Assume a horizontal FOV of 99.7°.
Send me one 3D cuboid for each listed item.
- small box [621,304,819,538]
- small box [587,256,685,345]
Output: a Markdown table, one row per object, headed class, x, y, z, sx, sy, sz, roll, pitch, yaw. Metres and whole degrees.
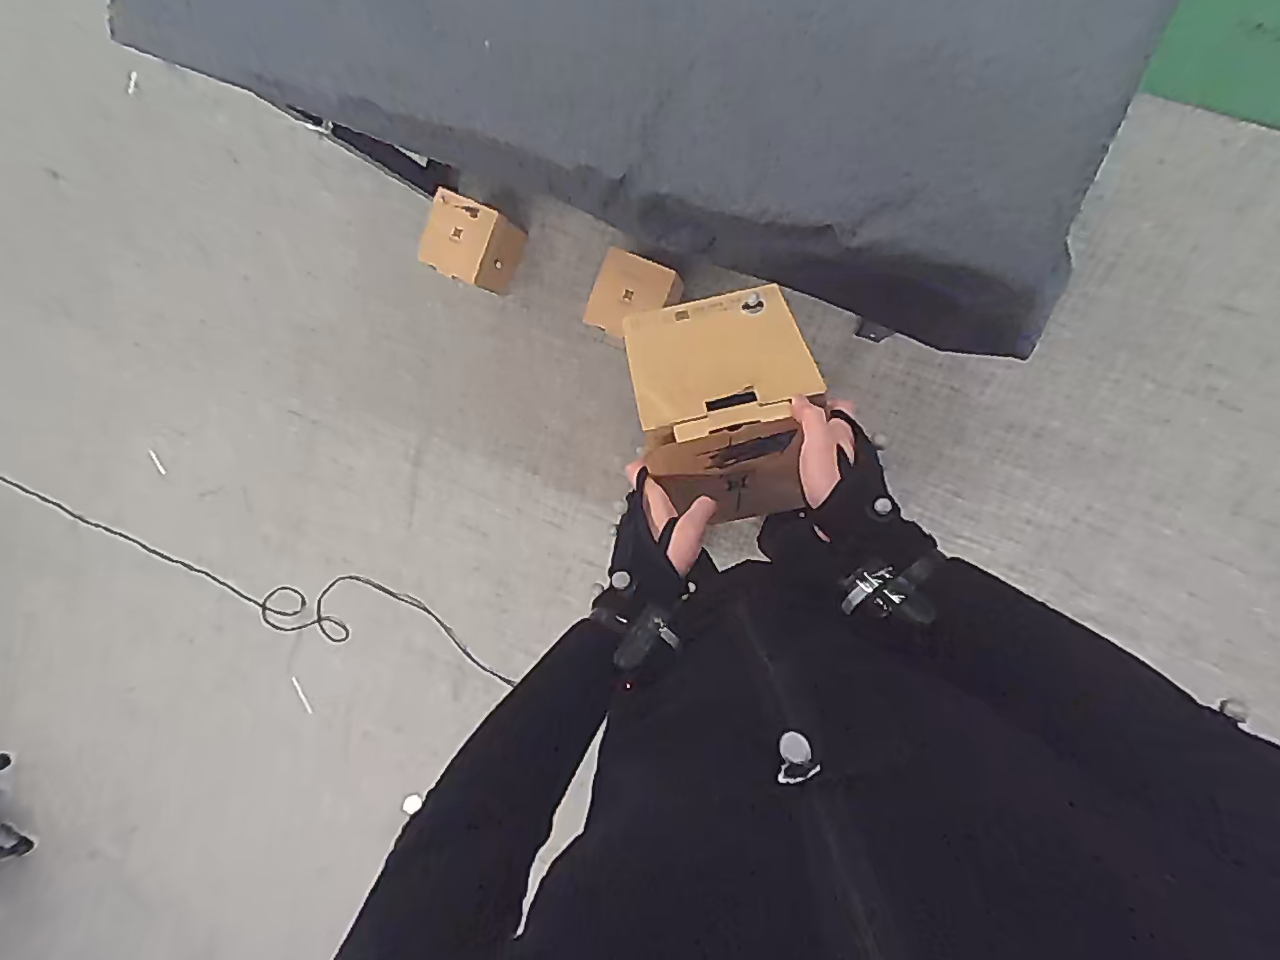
| class | x | y | z | sx | sy | sz | roll | pitch | yaw |
| --- | --- | --- | --- | --- | --- | --- | --- | --- | --- |
| small box | 0.080 | -0.066 | 0.580 | 0.168 | 0.179 | 0.176 | -12 | 52 | 5 |
| small box | -0.002 | -0.400 | 1.288 | 0.168 | 0.176 | 0.179 | 23 | 100 | 8 |
